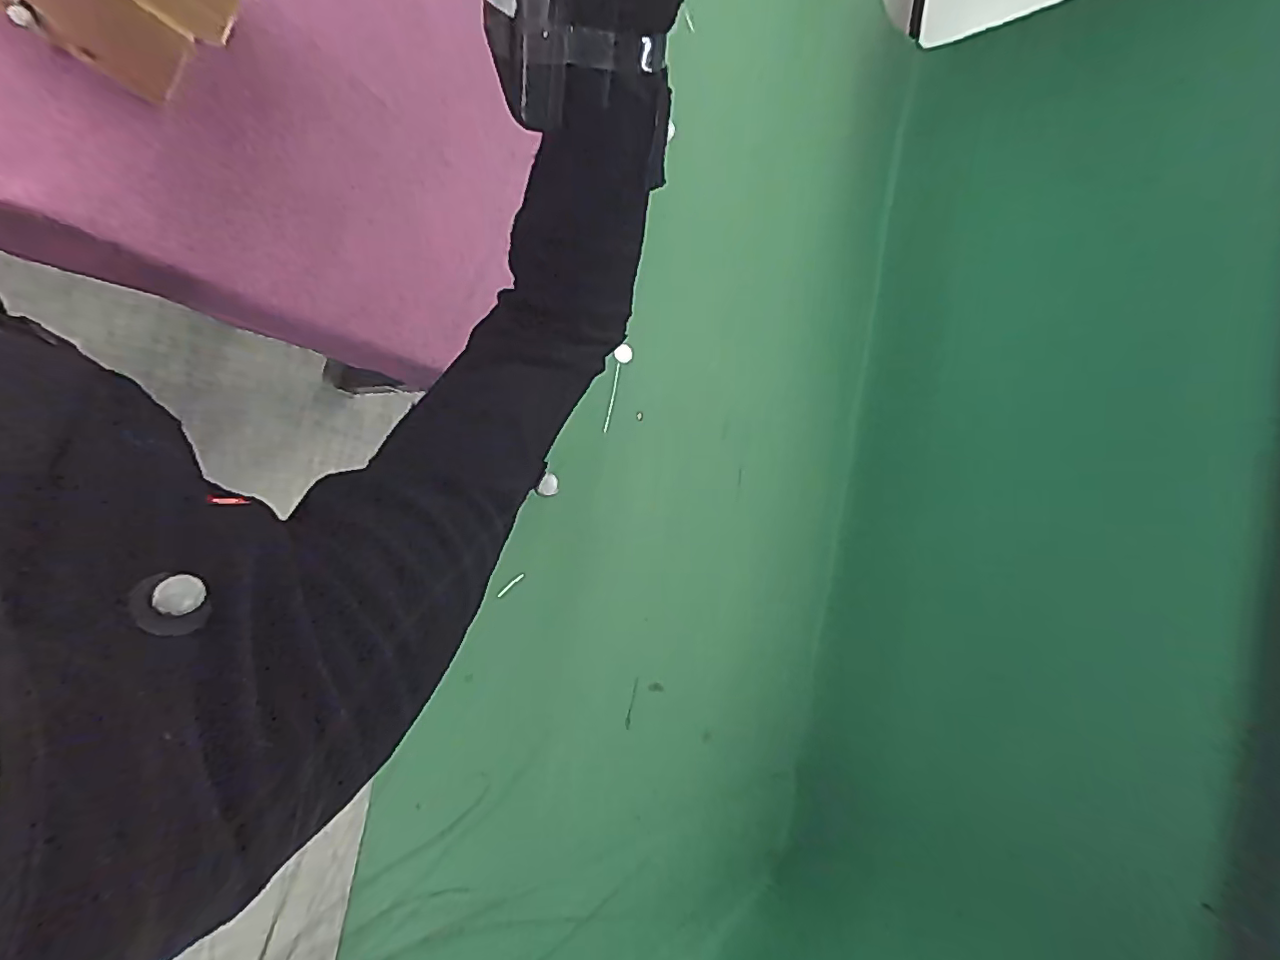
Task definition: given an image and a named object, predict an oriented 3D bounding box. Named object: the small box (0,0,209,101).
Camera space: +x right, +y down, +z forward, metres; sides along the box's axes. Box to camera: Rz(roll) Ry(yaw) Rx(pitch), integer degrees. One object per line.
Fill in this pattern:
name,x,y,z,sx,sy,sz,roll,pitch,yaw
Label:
small box,-0.467,-0.488,0.470,0.168,0.176,0.179,22,79,-47
